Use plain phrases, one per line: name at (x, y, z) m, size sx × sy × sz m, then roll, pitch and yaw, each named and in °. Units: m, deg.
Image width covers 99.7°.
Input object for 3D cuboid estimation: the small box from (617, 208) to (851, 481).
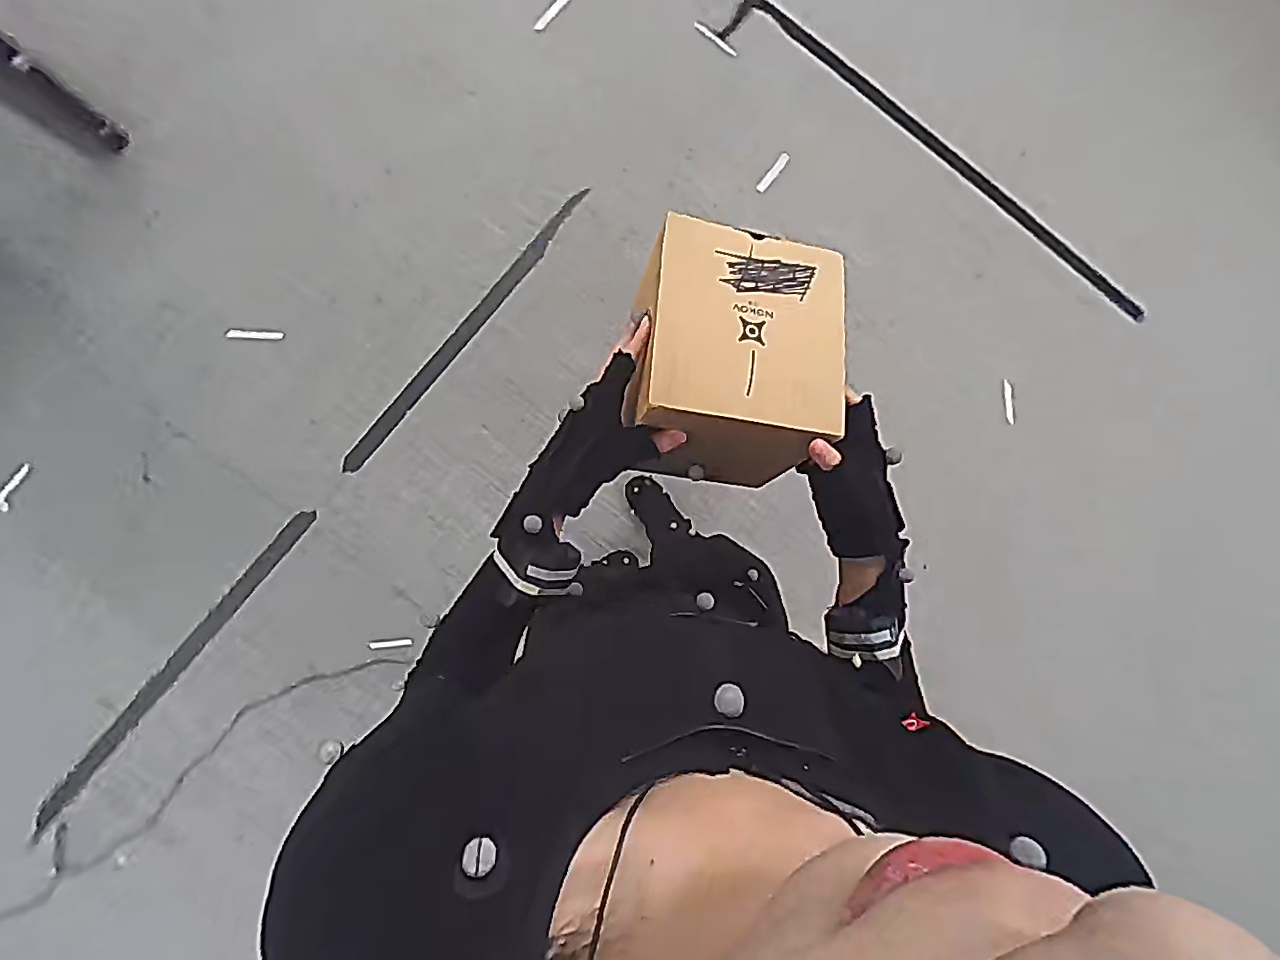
small box at (0.076, -0.112, 0.511) m, size 0.168 × 0.176 × 0.179 m, roll 7°, pitch 73°, yaw -10°
